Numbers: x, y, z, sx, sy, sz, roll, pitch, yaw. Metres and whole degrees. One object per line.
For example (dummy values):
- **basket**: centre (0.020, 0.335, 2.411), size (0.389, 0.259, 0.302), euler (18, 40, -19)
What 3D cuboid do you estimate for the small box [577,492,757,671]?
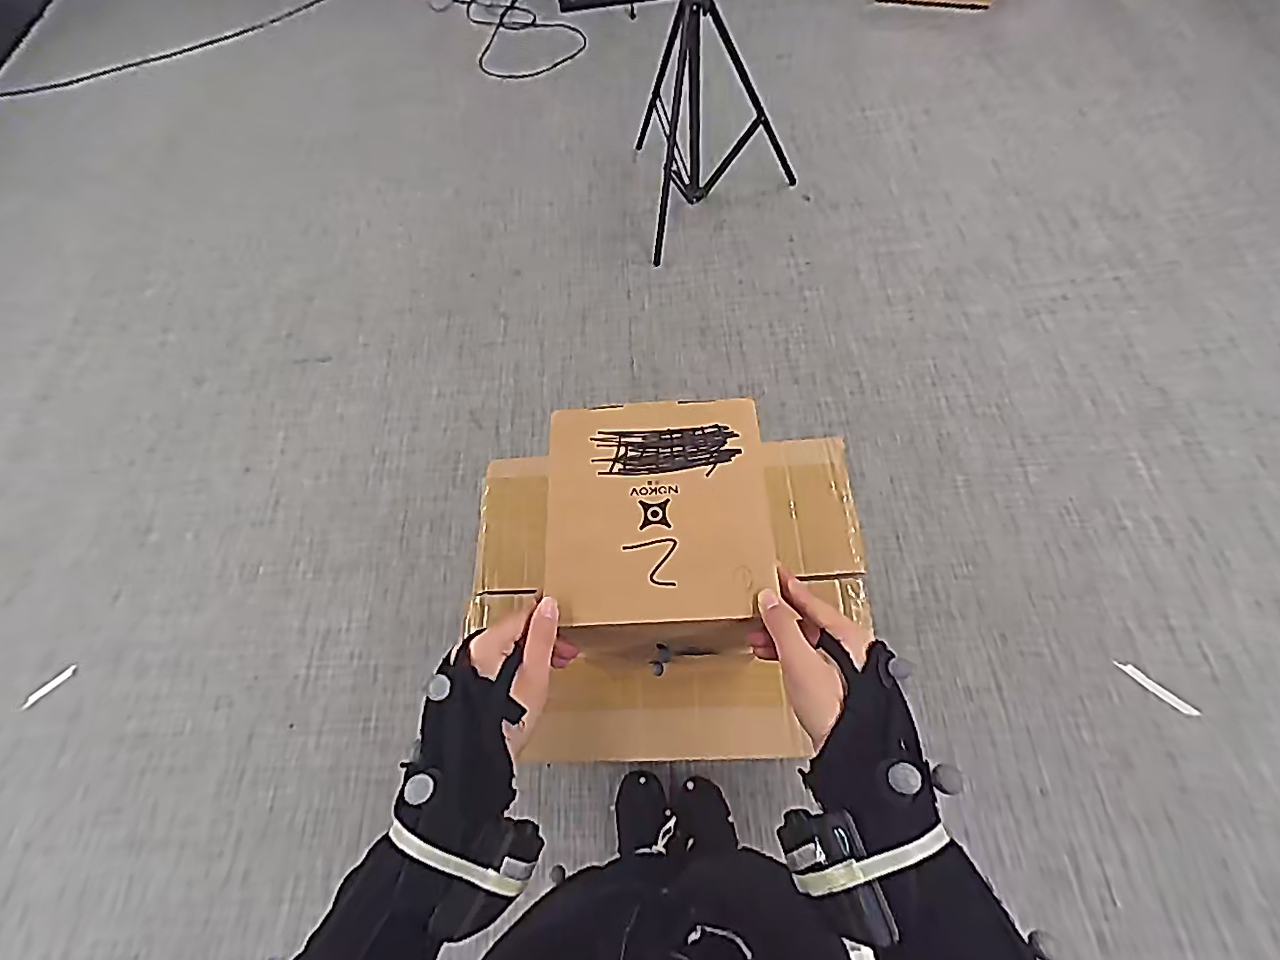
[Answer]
- **small box**: centre (0.033, 0.124, 0.621), size (0.179, 0.176, 0.168), euler (-3, 65, 4)
